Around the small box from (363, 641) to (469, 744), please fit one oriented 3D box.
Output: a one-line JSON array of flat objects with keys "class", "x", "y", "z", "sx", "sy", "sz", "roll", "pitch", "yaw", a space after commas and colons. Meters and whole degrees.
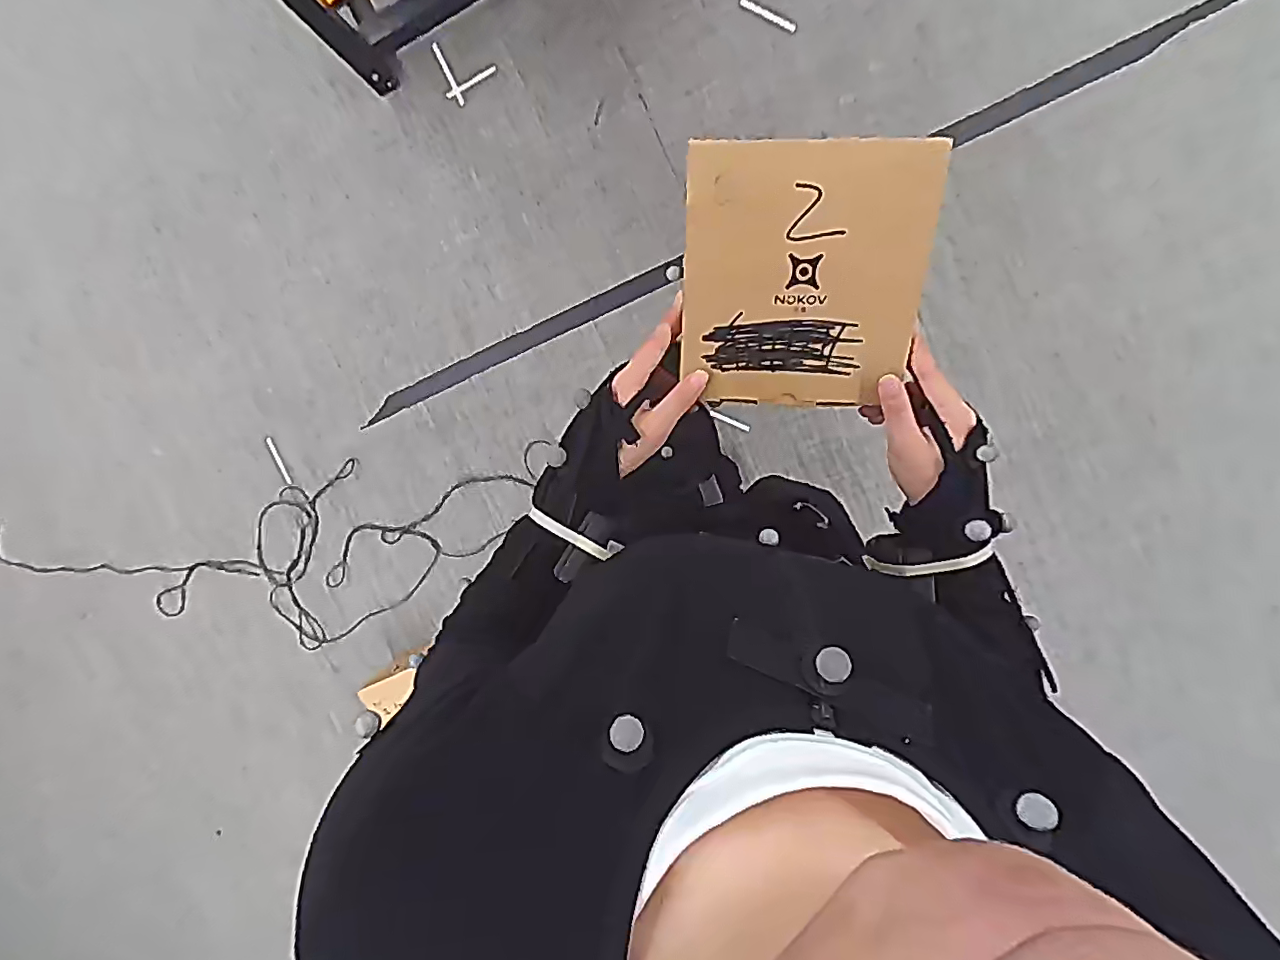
[{"class": "small box", "x": -0.581, "y": 0.556, "z": 1.436, "sx": 0.179, "sy": 0.176, "sz": 0.168, "roll": -25, "pitch": 94, "yaw": 9}]
